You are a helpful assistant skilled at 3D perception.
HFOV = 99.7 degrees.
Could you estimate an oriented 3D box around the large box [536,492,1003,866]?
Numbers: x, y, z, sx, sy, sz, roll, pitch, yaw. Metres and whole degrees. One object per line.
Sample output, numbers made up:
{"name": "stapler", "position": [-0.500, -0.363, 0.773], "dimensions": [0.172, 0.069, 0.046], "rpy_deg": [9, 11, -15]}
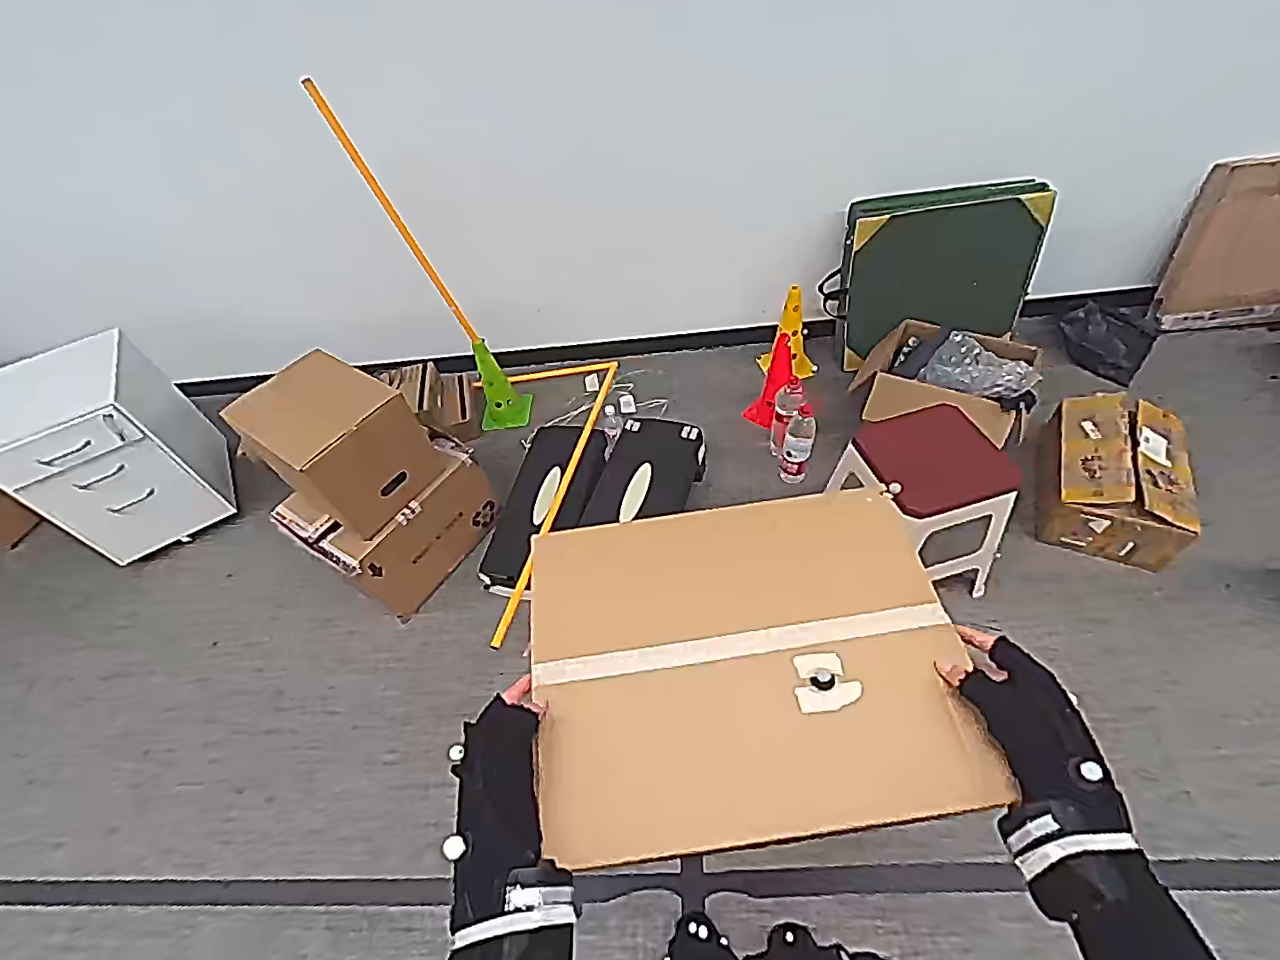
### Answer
{"name": "large box", "position": [0.105, 0.252, 0.658], "dimensions": [0.408, 0.320, 0.320], "rpy_deg": [-8, 55, 0]}
